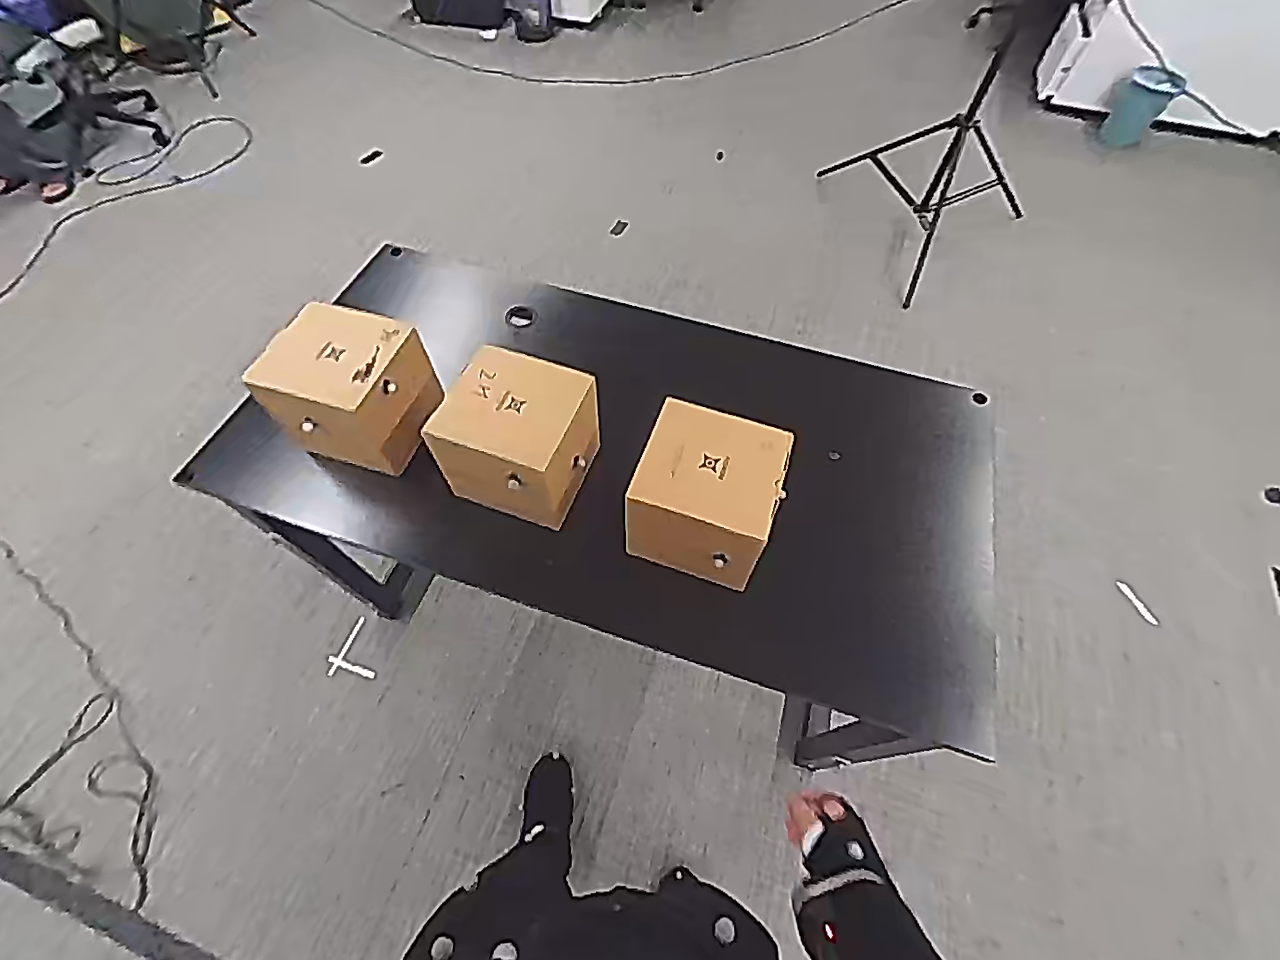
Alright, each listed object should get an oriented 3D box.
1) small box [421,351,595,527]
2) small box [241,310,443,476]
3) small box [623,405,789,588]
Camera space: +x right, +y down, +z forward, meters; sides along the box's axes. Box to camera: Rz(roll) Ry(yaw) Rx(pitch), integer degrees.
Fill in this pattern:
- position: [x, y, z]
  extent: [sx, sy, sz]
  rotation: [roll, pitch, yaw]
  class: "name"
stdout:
- position: [-0.173, -0.051, 0.780]
  extent: [0.179, 0.176, 0.168]
  rotation: [17, 60, 9]
  class: "small box"
- position: [-0.433, -0.126, 0.821]
  extent: [0.179, 0.176, 0.168]
  rotation: [14, 60, 8]
  class: "small box"
- position: [0.084, 0.030, 0.738]
  extent: [0.179, 0.176, 0.168]
  rotation: [16, 58, 8]
  class: "small box"
